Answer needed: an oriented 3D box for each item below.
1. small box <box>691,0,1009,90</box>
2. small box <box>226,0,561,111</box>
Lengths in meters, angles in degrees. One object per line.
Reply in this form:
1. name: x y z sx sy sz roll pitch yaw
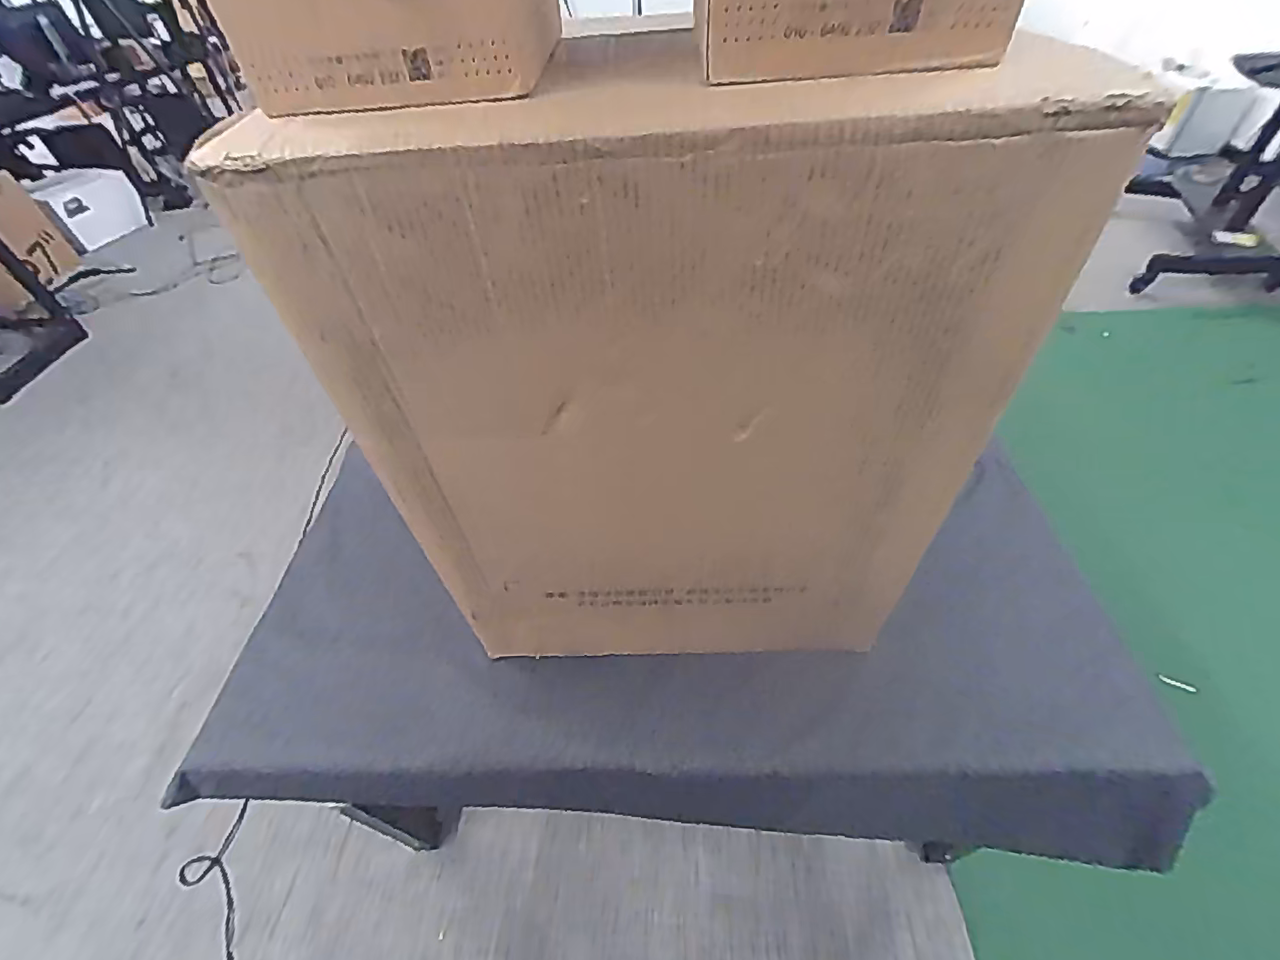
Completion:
1. small box: 0.117 -0.341 0.307 0.168 0.176 0.179 0 48 1
2. small box: -0.146 -0.338 0.321 0.168 0.176 0.179 -1 50 3
